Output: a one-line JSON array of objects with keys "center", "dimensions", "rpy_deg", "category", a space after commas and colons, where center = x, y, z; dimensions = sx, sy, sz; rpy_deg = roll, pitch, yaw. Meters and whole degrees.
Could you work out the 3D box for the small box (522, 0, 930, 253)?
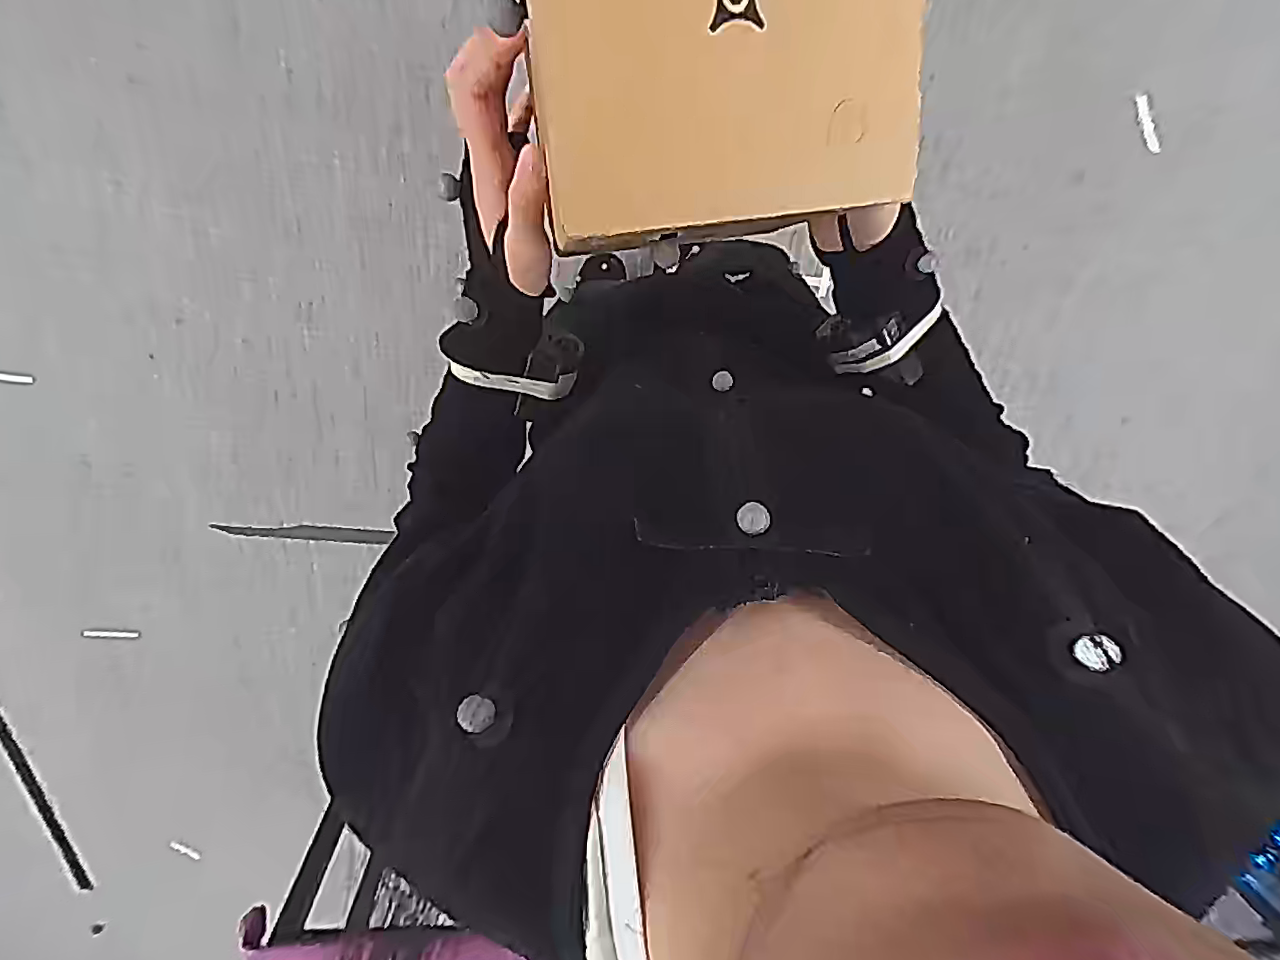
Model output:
[{"center": [0.027, -0.222, 0.287], "dimensions": [0.168, 0.176, 0.179], "rpy_deg": [-10, 110, -6], "category": "small box"}]
